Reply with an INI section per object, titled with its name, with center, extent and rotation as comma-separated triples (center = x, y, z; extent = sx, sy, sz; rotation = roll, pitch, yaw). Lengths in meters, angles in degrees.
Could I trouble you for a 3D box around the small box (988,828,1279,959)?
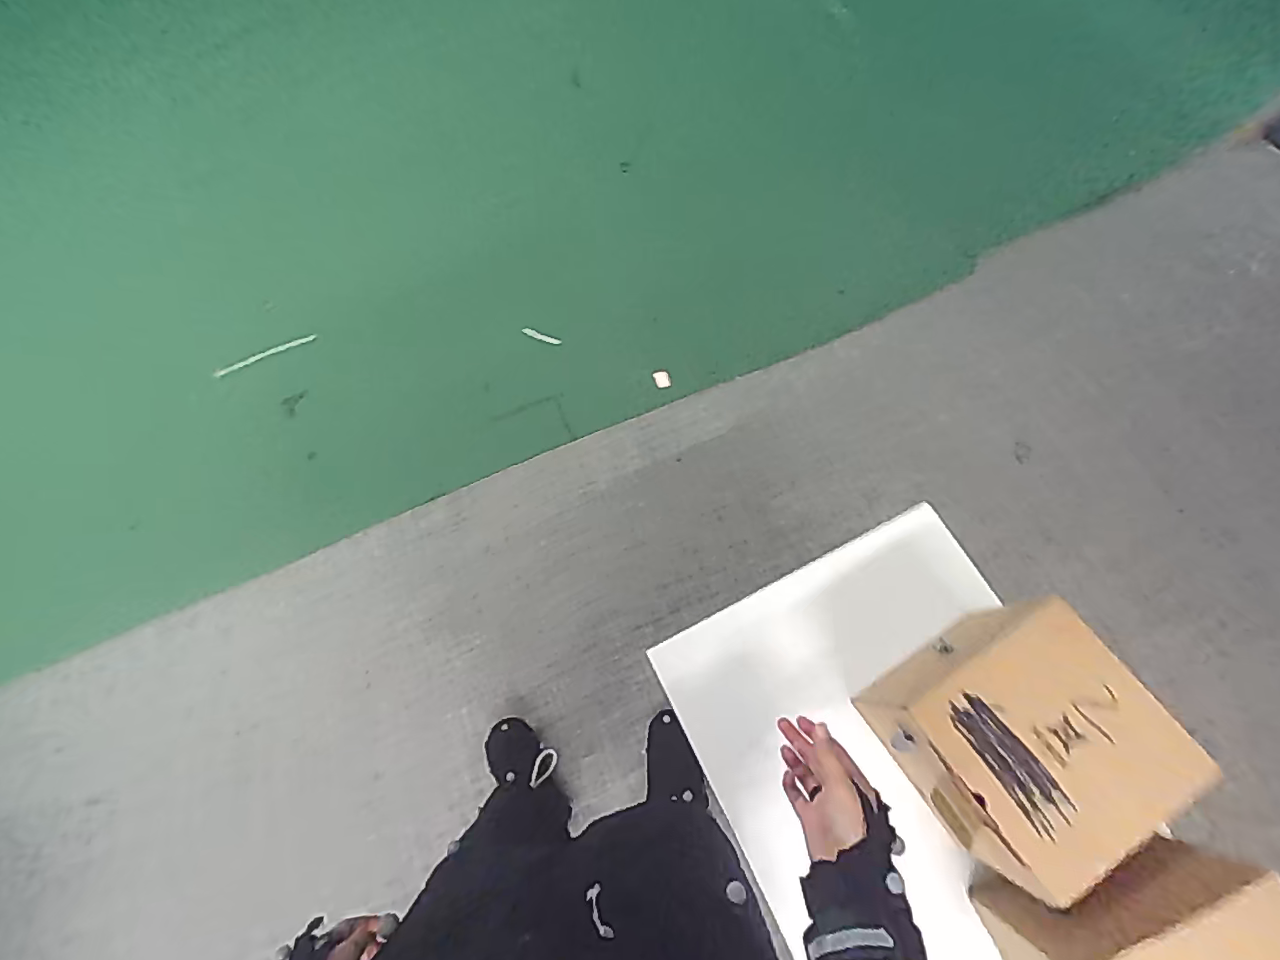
[small box]
center = 0.427, 0.423, 0.439
extent = 0.179, 0.176, 0.168
rotation = -25, 71, -4
